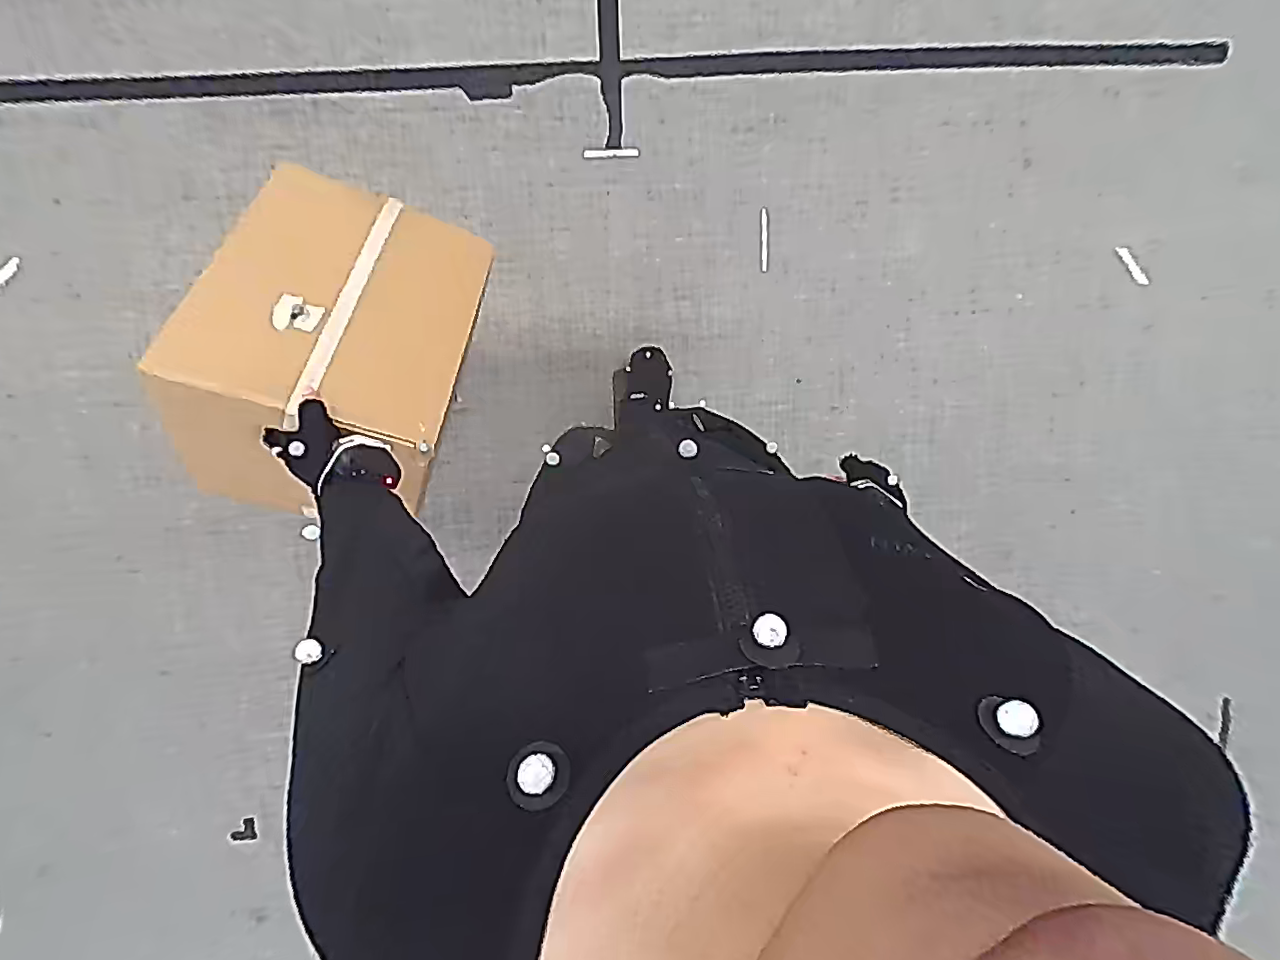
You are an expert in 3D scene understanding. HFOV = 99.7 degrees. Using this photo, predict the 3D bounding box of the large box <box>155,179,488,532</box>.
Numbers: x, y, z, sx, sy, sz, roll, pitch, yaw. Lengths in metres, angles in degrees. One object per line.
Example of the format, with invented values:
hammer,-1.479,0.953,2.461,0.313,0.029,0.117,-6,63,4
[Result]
large box,-0.462,-0.180,0.878,0.320,0.320,0.408,16,58,-18
